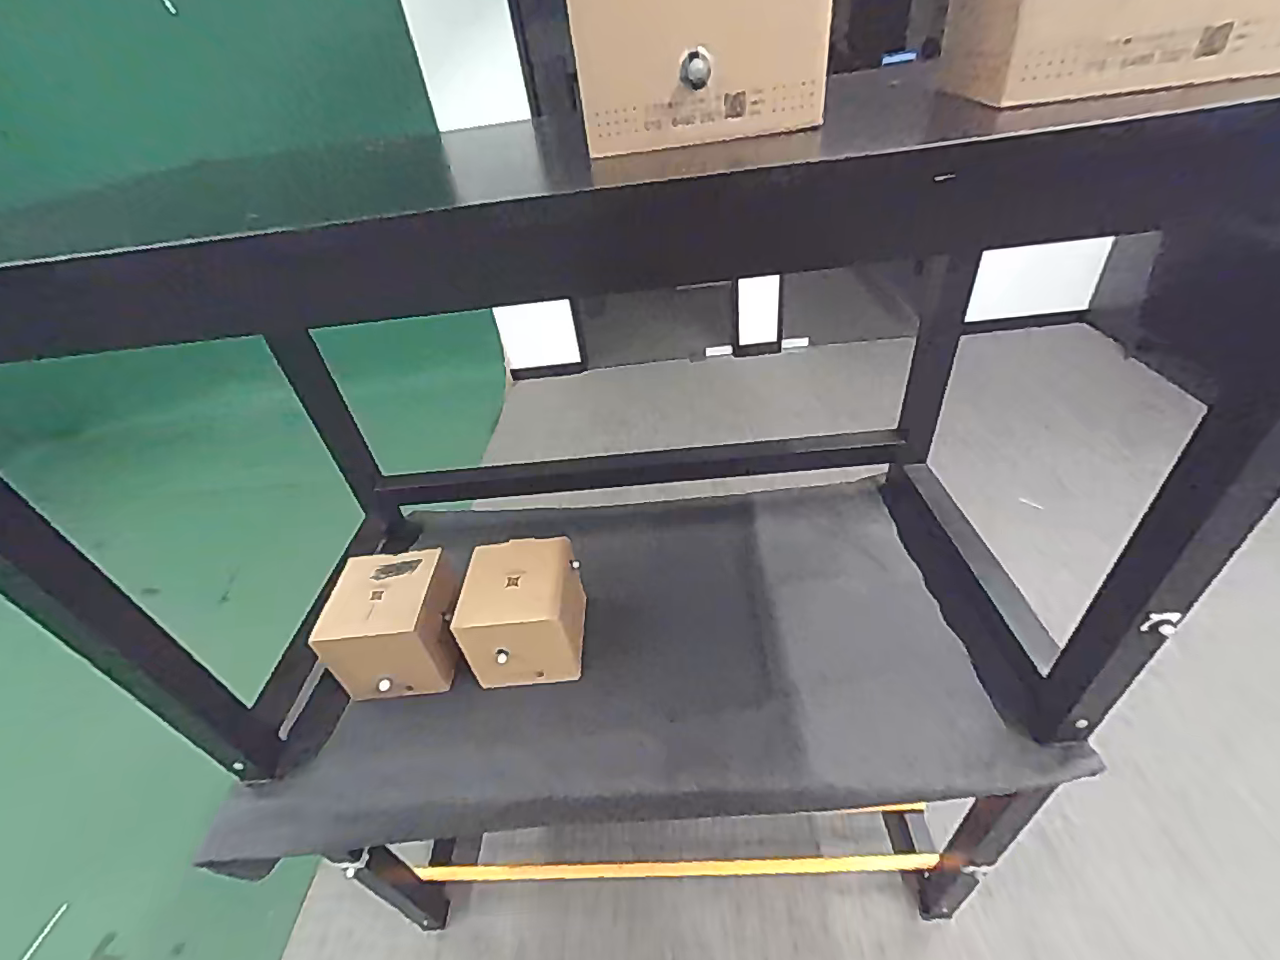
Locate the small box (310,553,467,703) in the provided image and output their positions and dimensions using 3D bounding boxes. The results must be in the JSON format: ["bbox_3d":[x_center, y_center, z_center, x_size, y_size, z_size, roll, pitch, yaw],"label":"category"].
[{"bbox_3d":[-0.408,0.250,0.918,0.168,0.176,0.179,-7,38,3],"label":"small box"}]
